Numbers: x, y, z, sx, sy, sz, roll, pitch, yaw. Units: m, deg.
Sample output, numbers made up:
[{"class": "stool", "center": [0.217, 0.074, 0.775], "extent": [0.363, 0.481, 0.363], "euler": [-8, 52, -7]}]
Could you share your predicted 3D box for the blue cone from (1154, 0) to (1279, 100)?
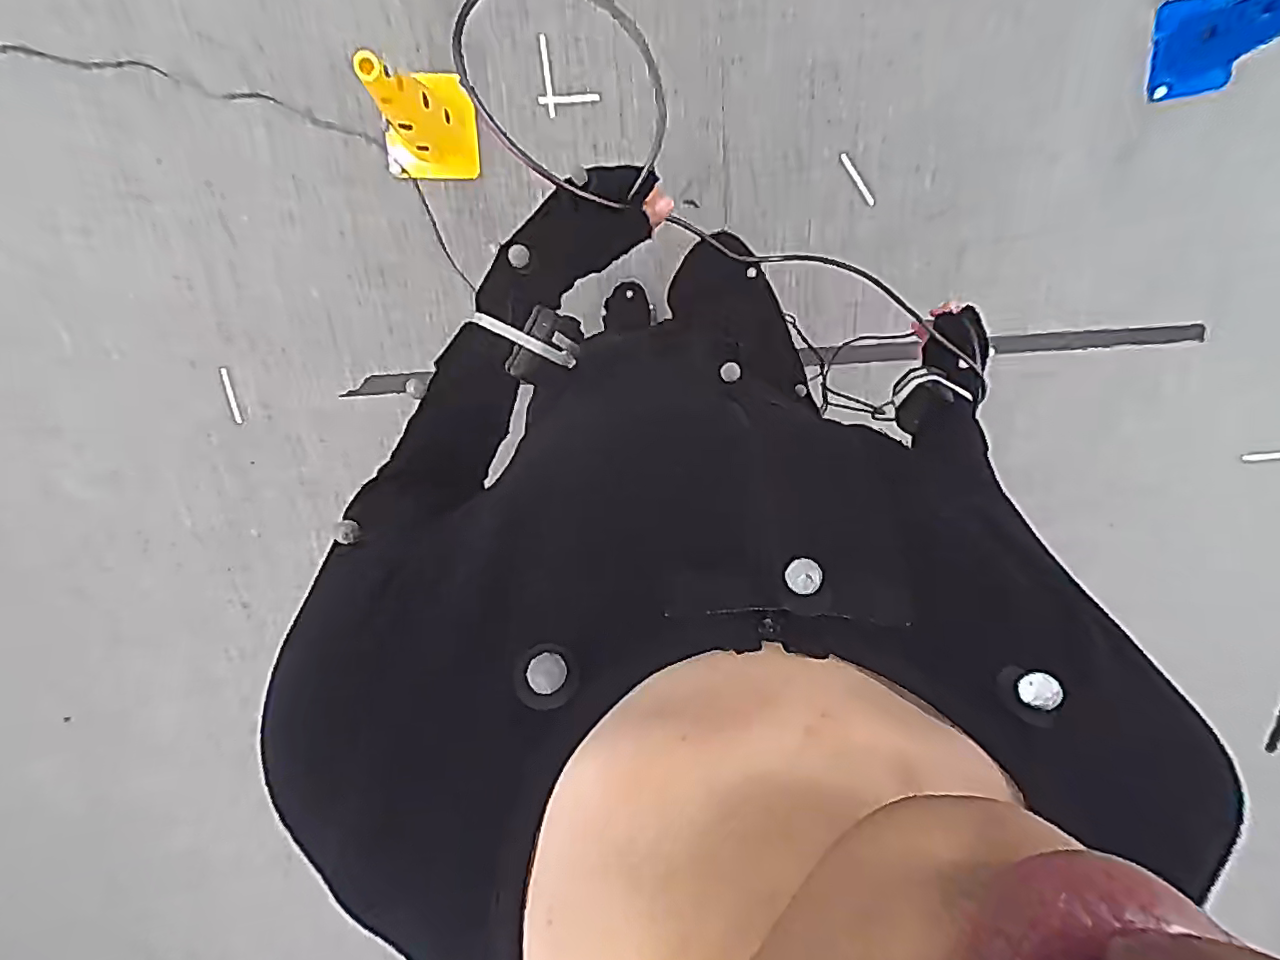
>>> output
[{"class": "blue cone", "center": [1.292, -0.940, 1.084], "extent": [0.193, 0.380, 0.192], "euler": [-10, 110, -1]}]
